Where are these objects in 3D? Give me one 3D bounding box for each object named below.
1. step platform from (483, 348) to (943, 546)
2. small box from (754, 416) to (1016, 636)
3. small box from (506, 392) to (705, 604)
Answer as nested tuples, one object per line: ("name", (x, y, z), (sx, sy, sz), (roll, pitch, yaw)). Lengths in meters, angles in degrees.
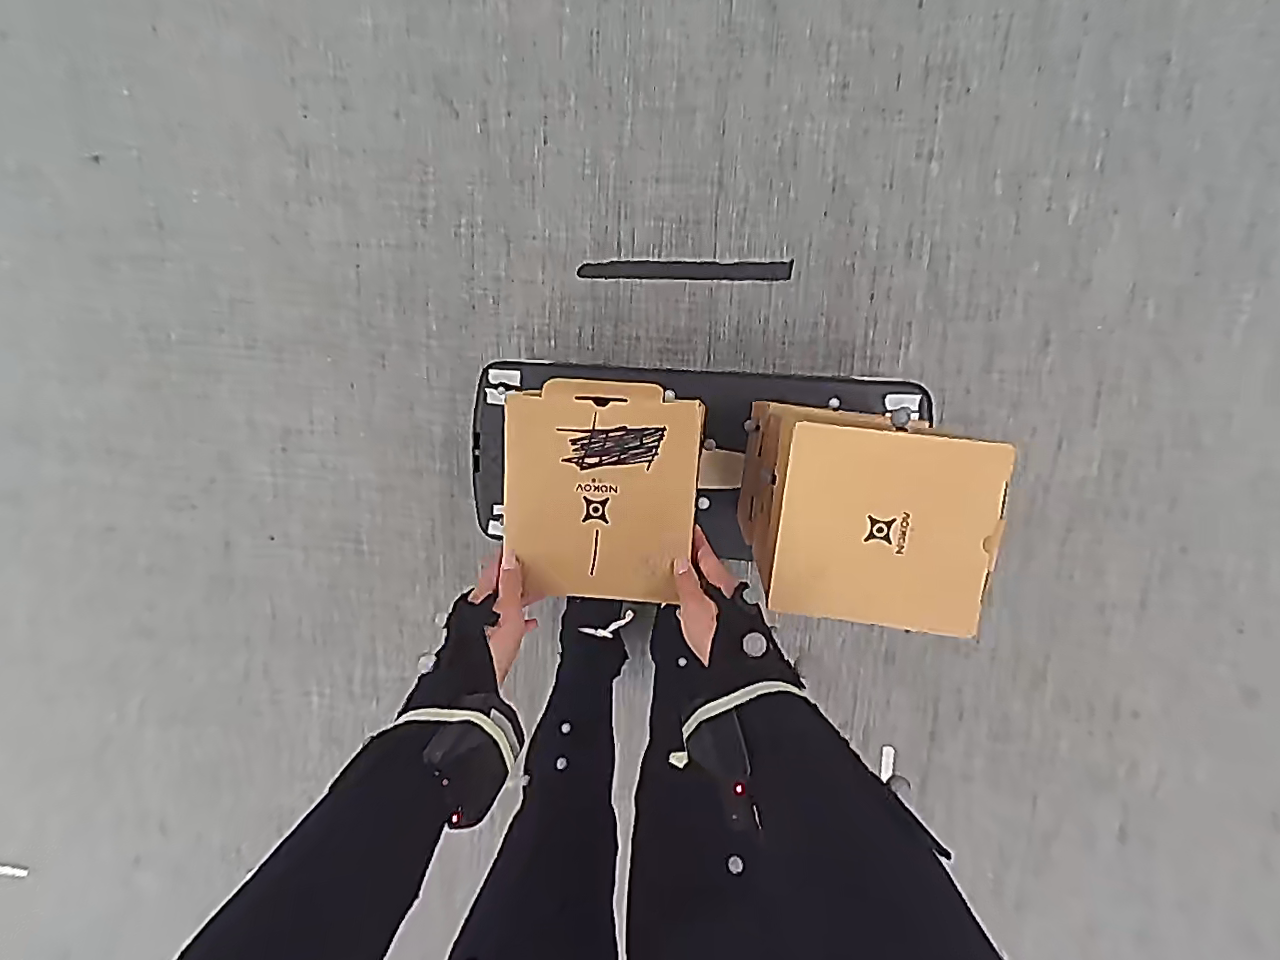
("step platform", (0.099, -0.053, 0.867), (0.684, 0.204, 0.286), (4, 99, 7))
("small box", (0.212, 0.029, 0.524), (0.179, 0.176, 0.168), (7, 100, 5))
("small box", (-0.026, 0.008, 0.541), (0.168, 0.176, 0.179), (3, 97, 5))
